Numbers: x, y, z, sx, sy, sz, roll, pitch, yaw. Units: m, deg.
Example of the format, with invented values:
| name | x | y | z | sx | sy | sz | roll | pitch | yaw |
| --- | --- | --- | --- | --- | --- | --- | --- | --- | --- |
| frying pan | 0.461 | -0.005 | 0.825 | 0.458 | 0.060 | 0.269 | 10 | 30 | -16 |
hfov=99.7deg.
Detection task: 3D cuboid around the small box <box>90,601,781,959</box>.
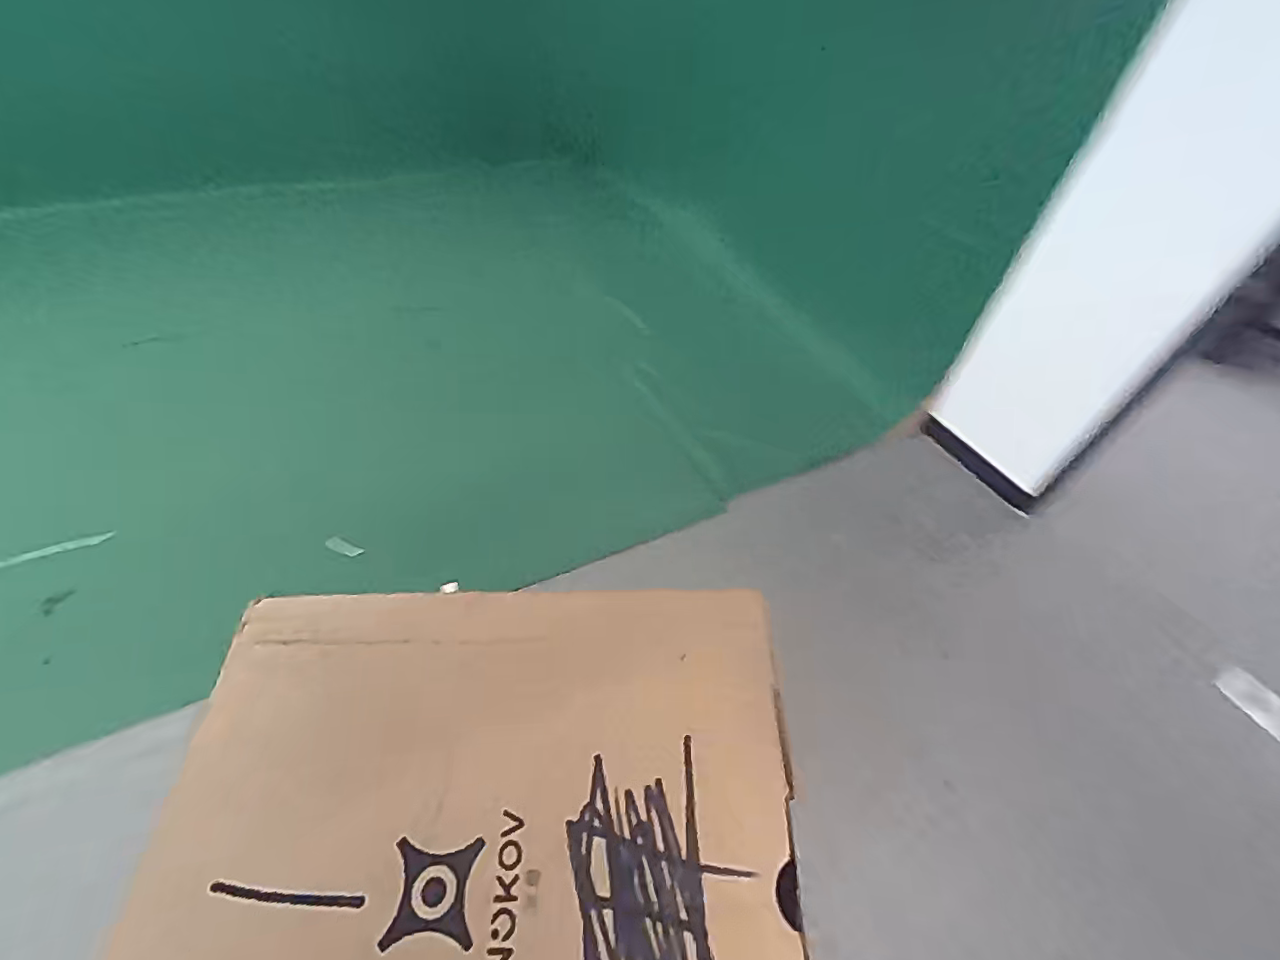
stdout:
| name | x | y | z | sx | sy | sz | roll | pitch | yaw |
| --- | --- | --- | --- | --- | --- | --- | --- | --- | --- |
| small box | -0.053 | 0.156 | 0.209 | 0.179 | 0.176 | 0.168 | -3 | 58 | -3 |
